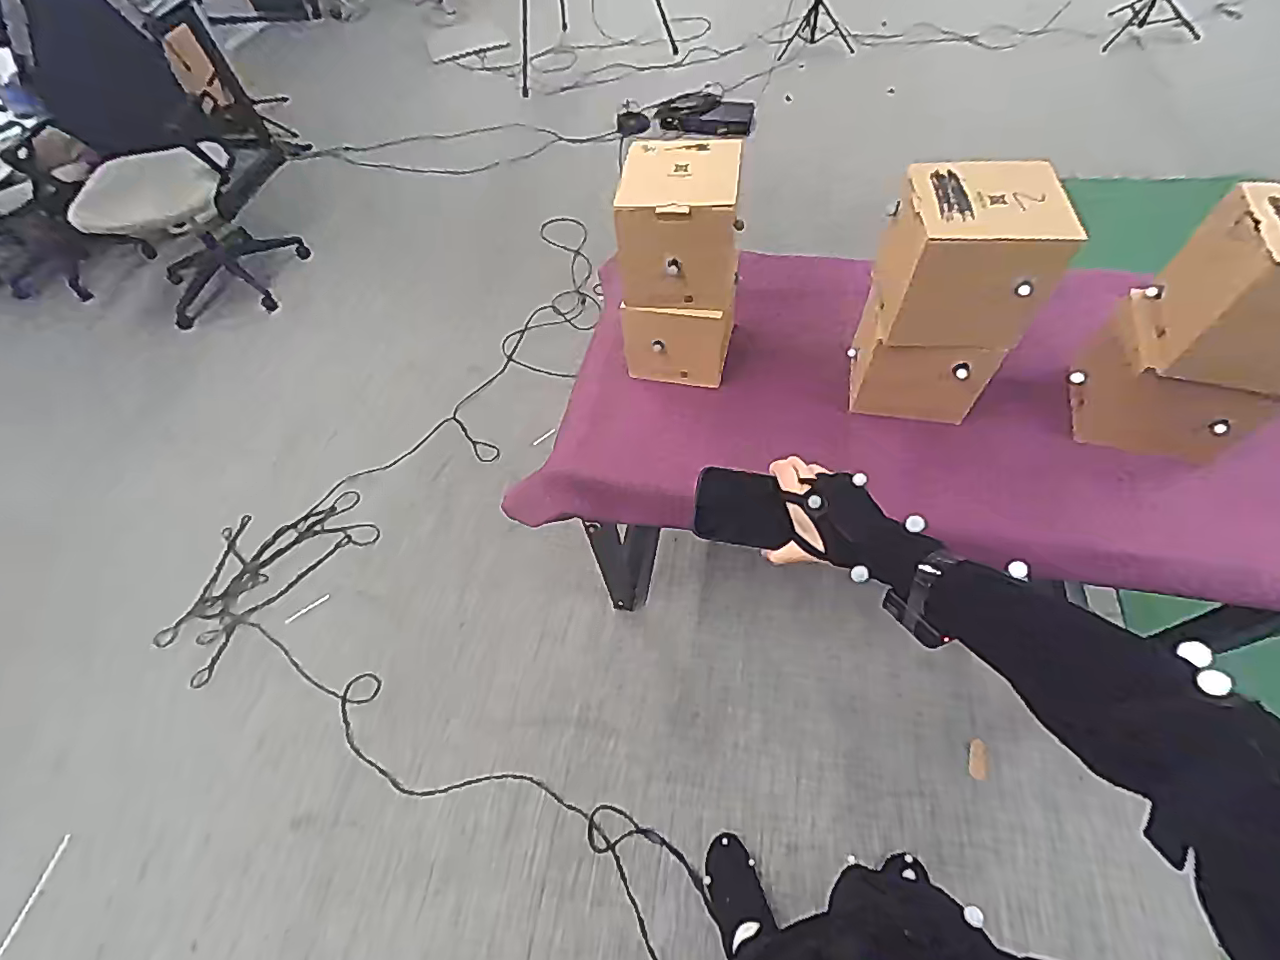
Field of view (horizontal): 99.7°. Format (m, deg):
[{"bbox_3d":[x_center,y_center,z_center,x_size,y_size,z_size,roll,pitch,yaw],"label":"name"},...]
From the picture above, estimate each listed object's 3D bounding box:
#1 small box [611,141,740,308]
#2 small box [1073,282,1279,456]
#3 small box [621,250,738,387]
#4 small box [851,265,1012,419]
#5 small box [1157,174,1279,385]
[{"bbox_3d":[0.062,-0.381,0.821,0.168,0.176,0.179,4,58,9],"label":"small box"},{"bbox_3d":[0.776,-0.155,0.784,0.179,0.176,0.168,14,59,15],"label":"small box"},{"bbox_3d":[0.077,-0.285,0.954,0.168,0.176,0.179,9,58,12],"label":"small box"},{"bbox_3d":[0.450,-0.214,0.860,0.179,0.176,0.168,8,58,12],"label":"small box"},{"bbox_3d":[0.765,-0.230,0.638,0.179,0.176,0.168,14,59,15],"label":"small box"}]
